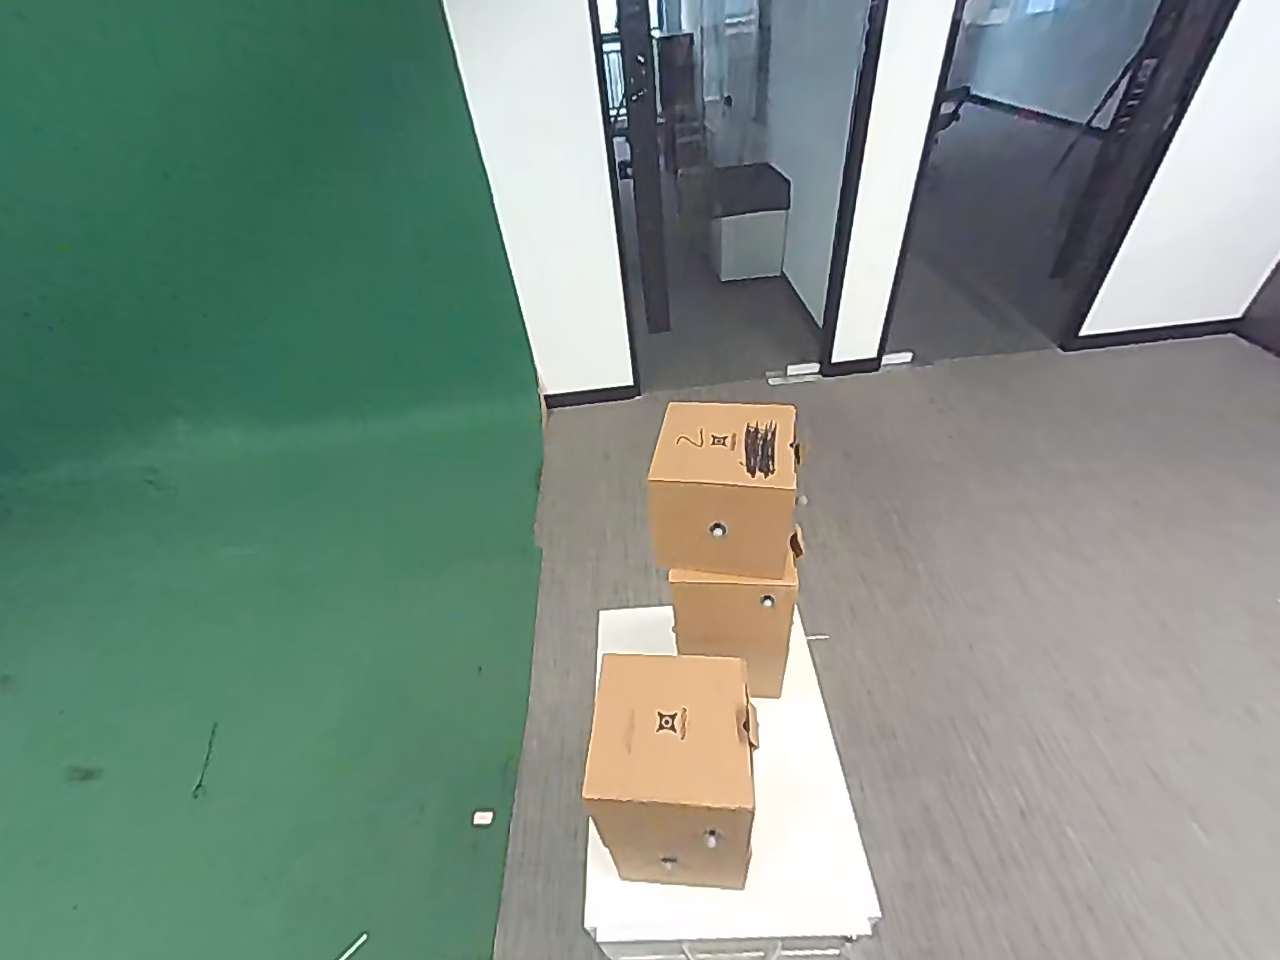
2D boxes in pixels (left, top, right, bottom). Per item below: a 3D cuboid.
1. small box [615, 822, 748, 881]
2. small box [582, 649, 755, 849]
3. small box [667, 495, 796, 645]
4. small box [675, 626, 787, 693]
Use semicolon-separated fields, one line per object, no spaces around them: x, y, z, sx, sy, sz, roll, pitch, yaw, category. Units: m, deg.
0.058;0.441;0.761;0.179;0.176;0.168;1;42;7;small box
0.040;0.323;0.651;0.179;0.176;0.168;-1;41;7;small box
0.138;0.140;0.840;0.179;0.176;0.168;0;43;7;small box
0.159;0.258;0.951;0.179;0.176;0.168;0;43;9;small box
